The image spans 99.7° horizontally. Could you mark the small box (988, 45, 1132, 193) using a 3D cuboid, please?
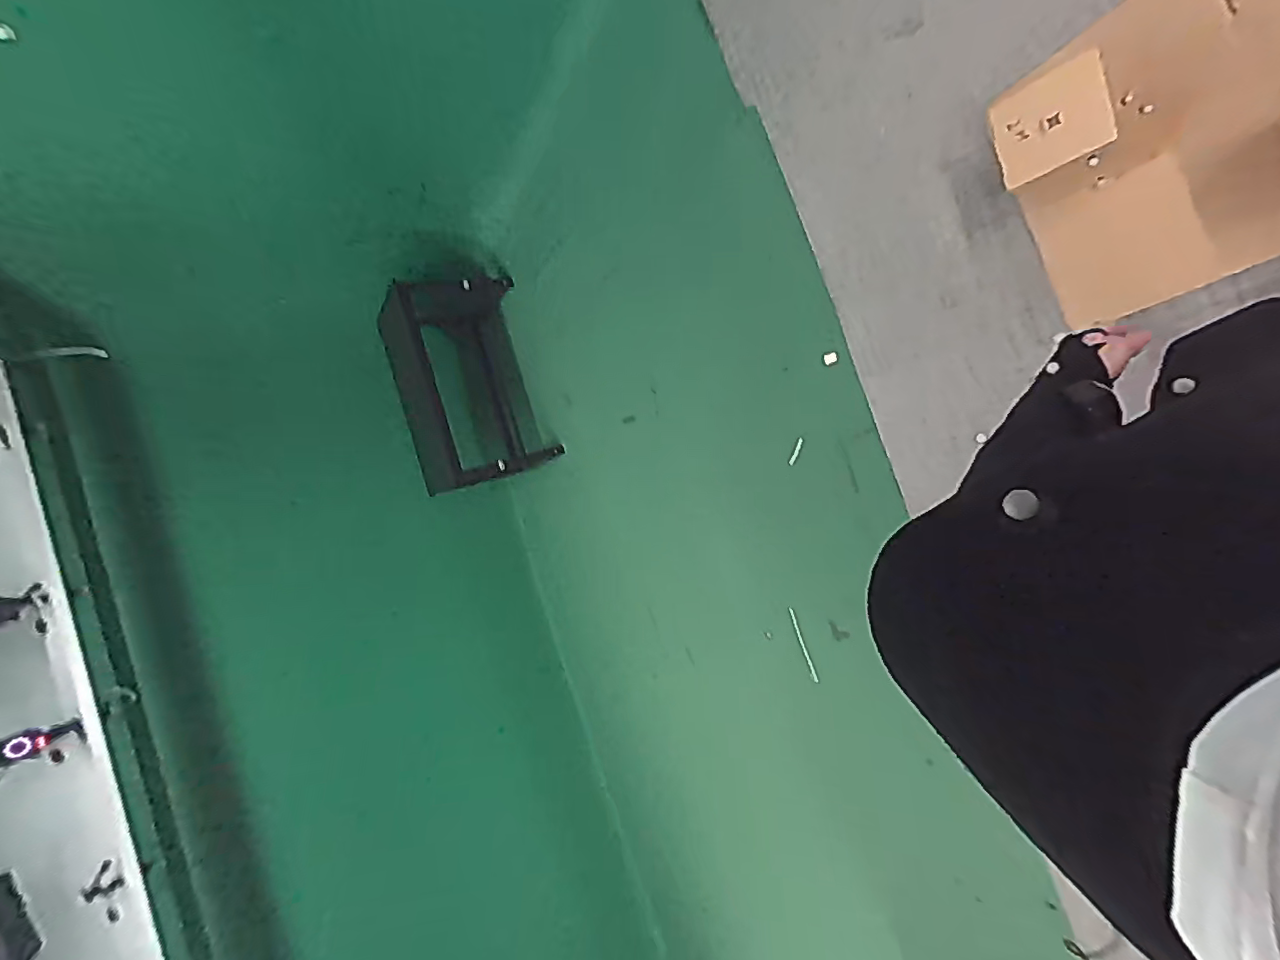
[{"bbox_3d":[0.819,-0.684,1.049,0.179,0.176,0.168,-11,94,54],"label":"small box"}]
